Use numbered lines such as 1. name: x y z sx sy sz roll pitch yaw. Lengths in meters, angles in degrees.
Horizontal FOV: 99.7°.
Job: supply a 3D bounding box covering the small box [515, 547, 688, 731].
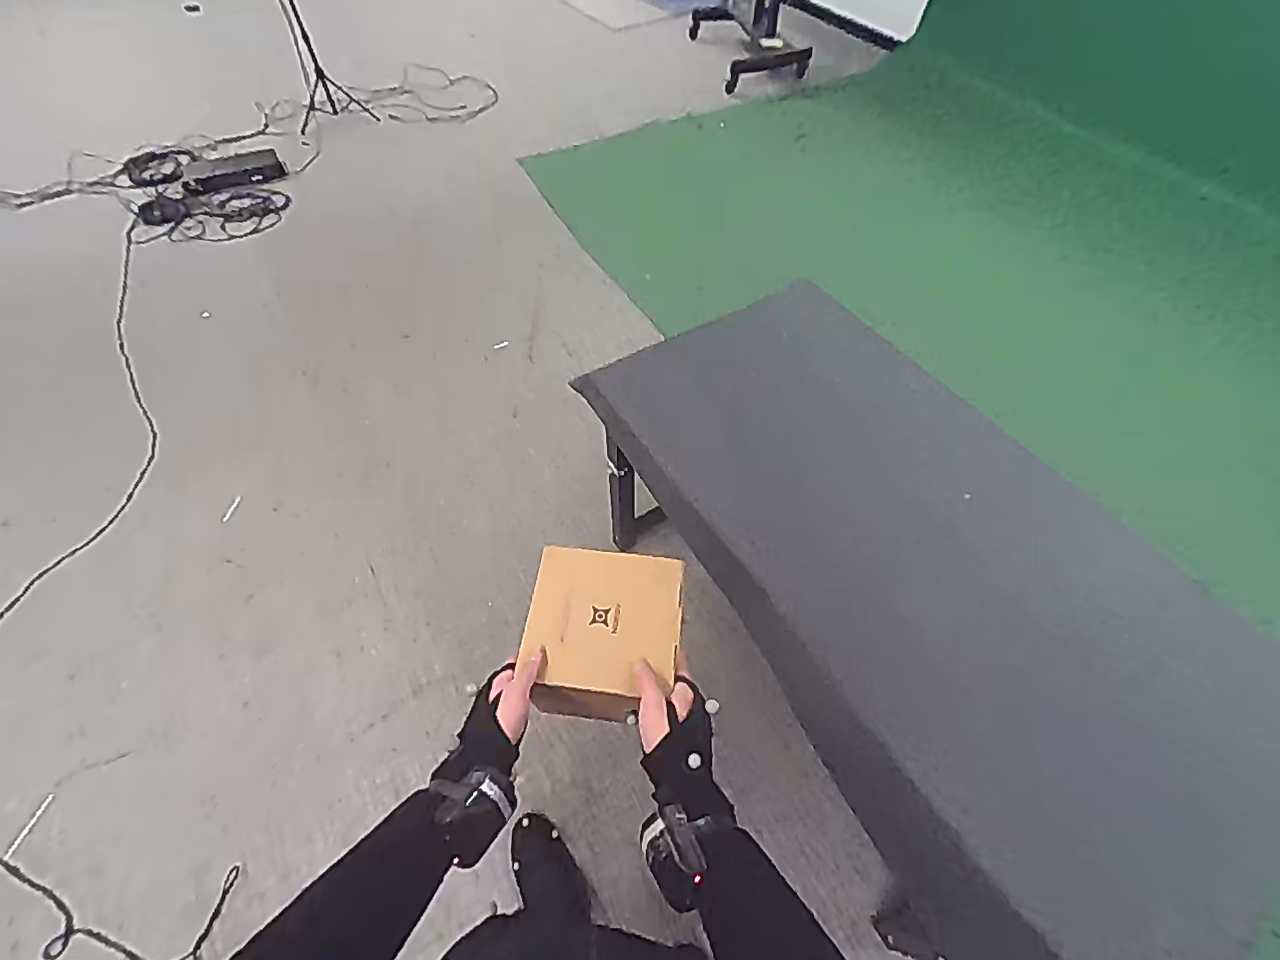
1. small box: -0.038 0.200 0.664 0.179 0.176 0.168 4 54 2
